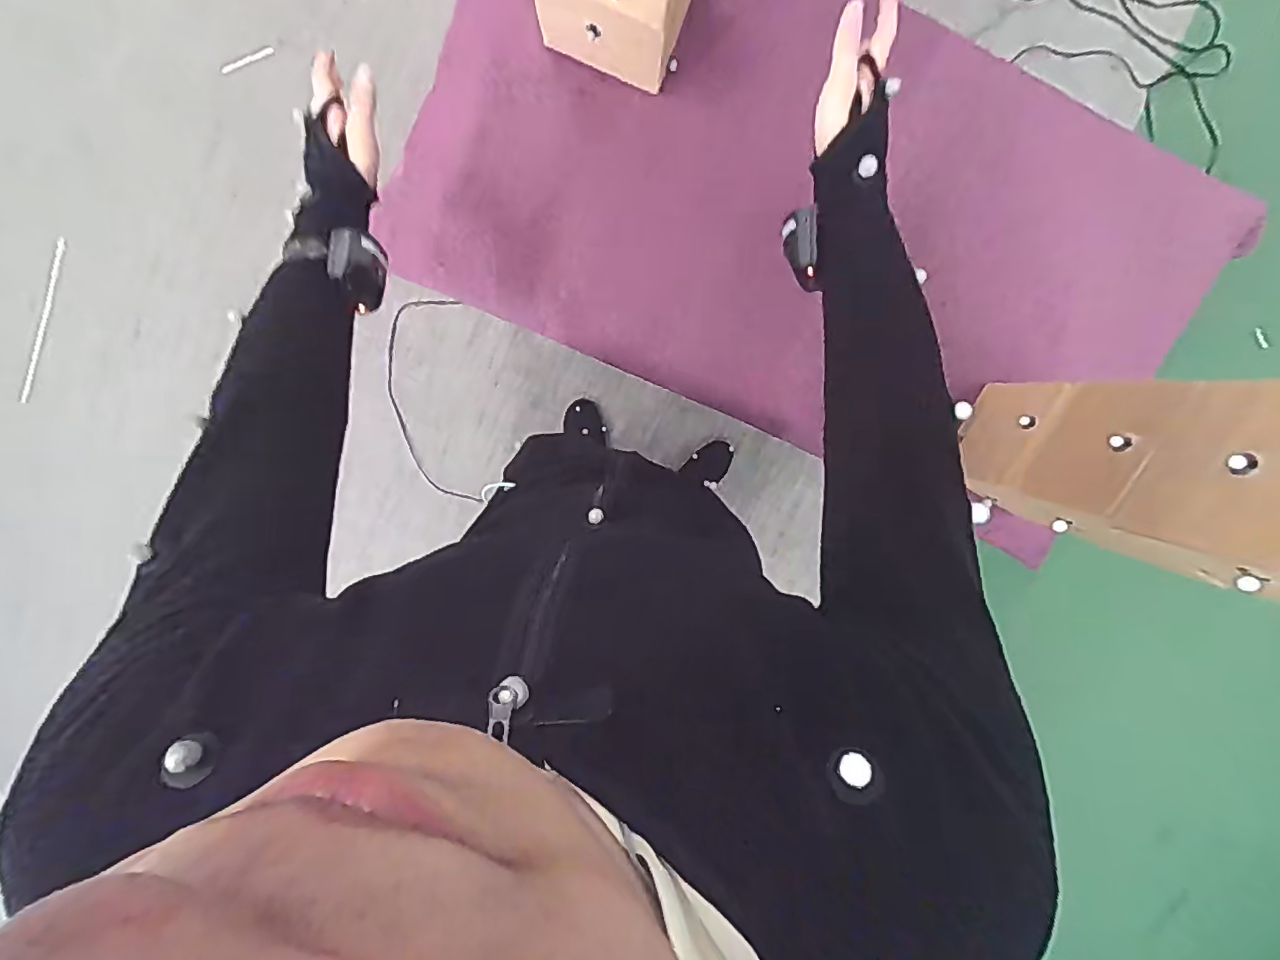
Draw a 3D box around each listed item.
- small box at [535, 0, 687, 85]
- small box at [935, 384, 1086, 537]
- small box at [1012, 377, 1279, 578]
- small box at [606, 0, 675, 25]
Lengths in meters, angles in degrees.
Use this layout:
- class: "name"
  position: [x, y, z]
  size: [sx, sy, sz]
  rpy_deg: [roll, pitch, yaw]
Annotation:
- class: "small box"
  position: [-0.026, -0.647, 0.684]
  size: [0.179, 0.176, 0.168]
  rpy_deg: [20, 100, -6]
- class: "small box"
  position: [0.609, -0.040, 0.832]
  size: [0.179, 0.176, 0.168]
  rpy_deg: [27, 98, -7]
- class: "small box"
  position: [0.619, -0.013, 0.672]
  size: [0.168, 0.176, 0.179]
  rpy_deg: [27, 98, -5]
- class: "small box"
  position: [-0.015, -0.609, 0.528]
  size: [0.168, 0.176, 0.179]
  rpy_deg: [20, 99, -6]
